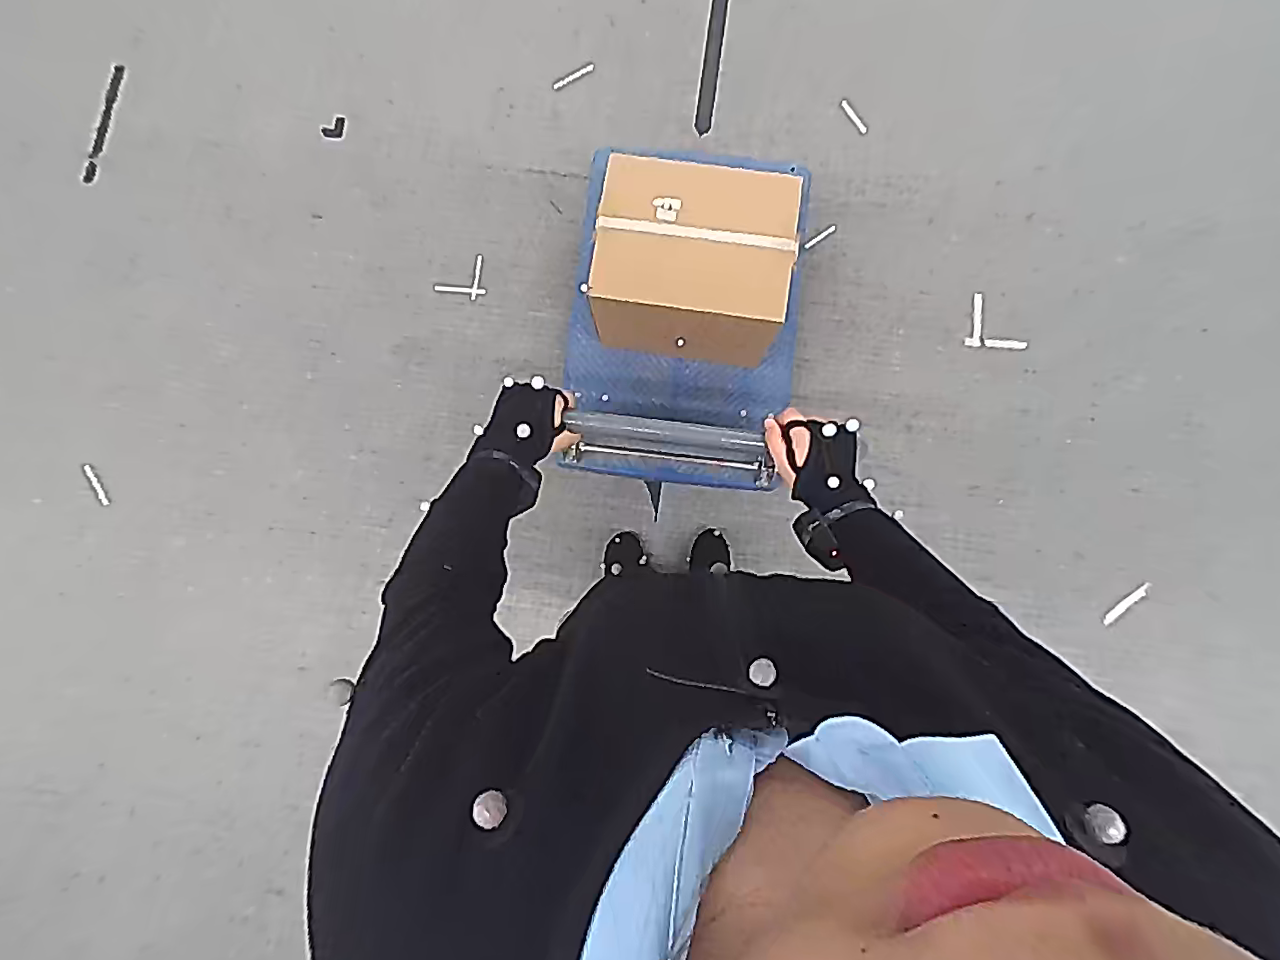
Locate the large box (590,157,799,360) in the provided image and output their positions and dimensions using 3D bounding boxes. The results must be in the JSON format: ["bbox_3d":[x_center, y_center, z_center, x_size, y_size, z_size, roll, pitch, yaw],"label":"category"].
[{"bbox_3d":[0.121,-0.489,1.256,0.408,0.320,0.320,8,84,3],"label":"large box"}]
